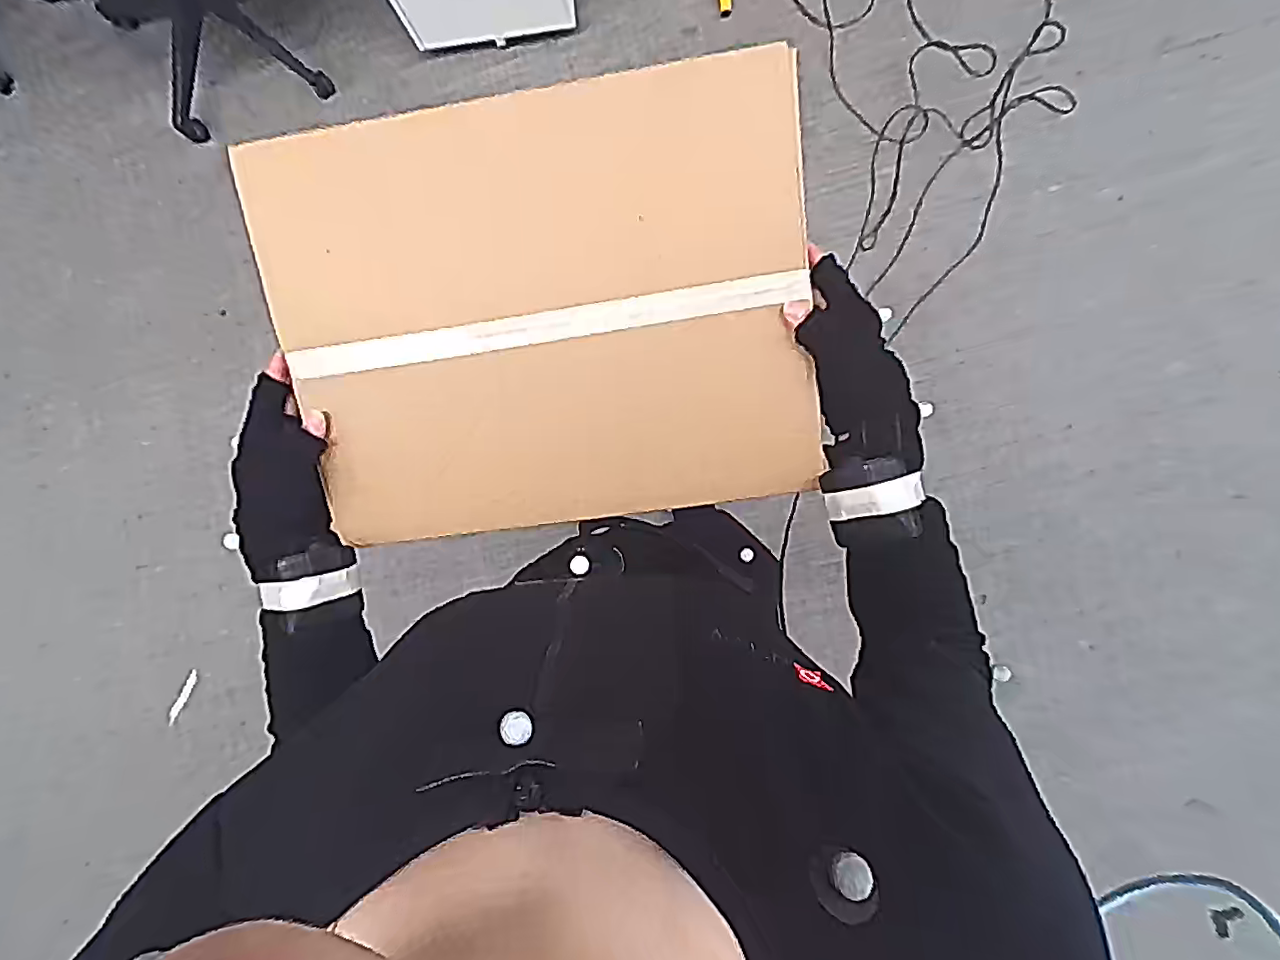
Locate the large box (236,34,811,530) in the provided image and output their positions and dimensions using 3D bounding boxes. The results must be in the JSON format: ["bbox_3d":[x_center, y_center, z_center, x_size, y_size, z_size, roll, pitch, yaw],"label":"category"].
[{"bbox_3d":[-0.072,-0.167,0.559,0.408,0.320,0.320,-7,103,4],"label":"large box"}]
